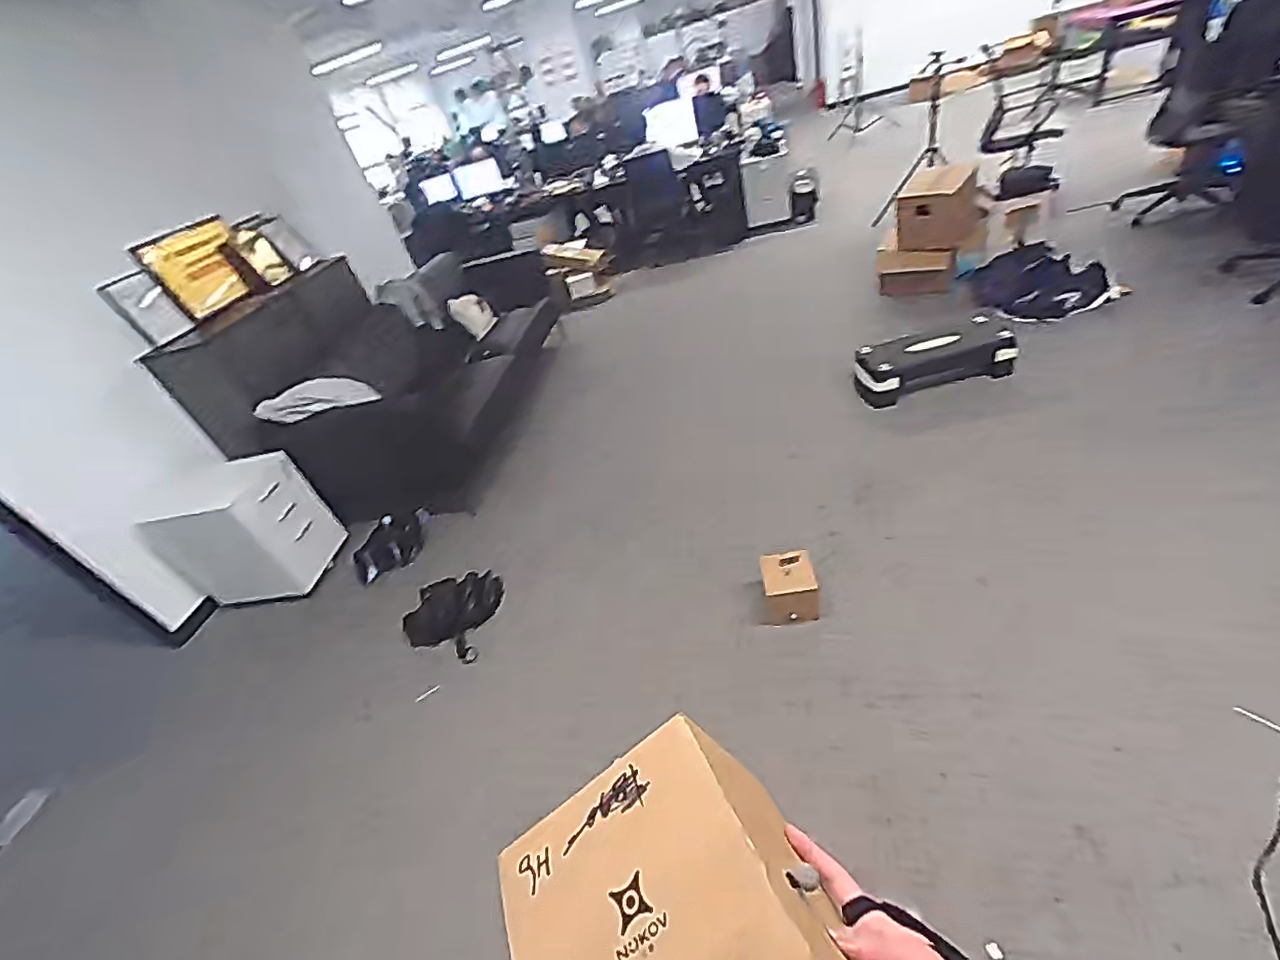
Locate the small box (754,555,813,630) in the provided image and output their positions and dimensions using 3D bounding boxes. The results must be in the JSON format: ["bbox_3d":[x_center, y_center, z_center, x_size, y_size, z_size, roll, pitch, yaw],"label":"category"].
[{"bbox_3d":[0.493,0.388,1.860,0.168,0.176,0.179,-10,38,10],"label":"small box"}]
